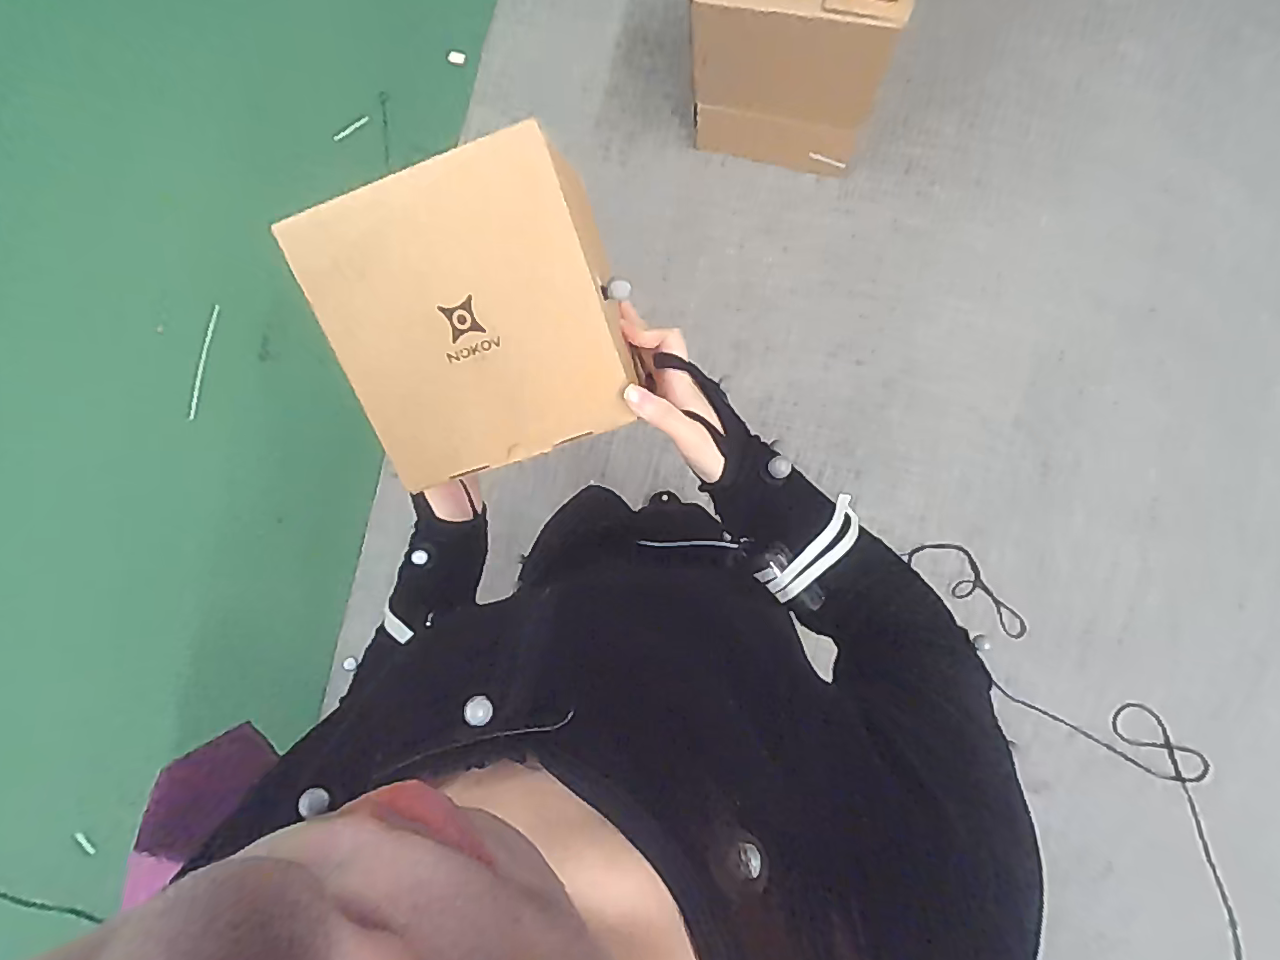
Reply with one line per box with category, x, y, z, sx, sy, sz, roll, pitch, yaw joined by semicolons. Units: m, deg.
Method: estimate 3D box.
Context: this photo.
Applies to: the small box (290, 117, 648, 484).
small box;-0.097;-0.123;0.401;0.168;0.176;0.179;-17;109;8
